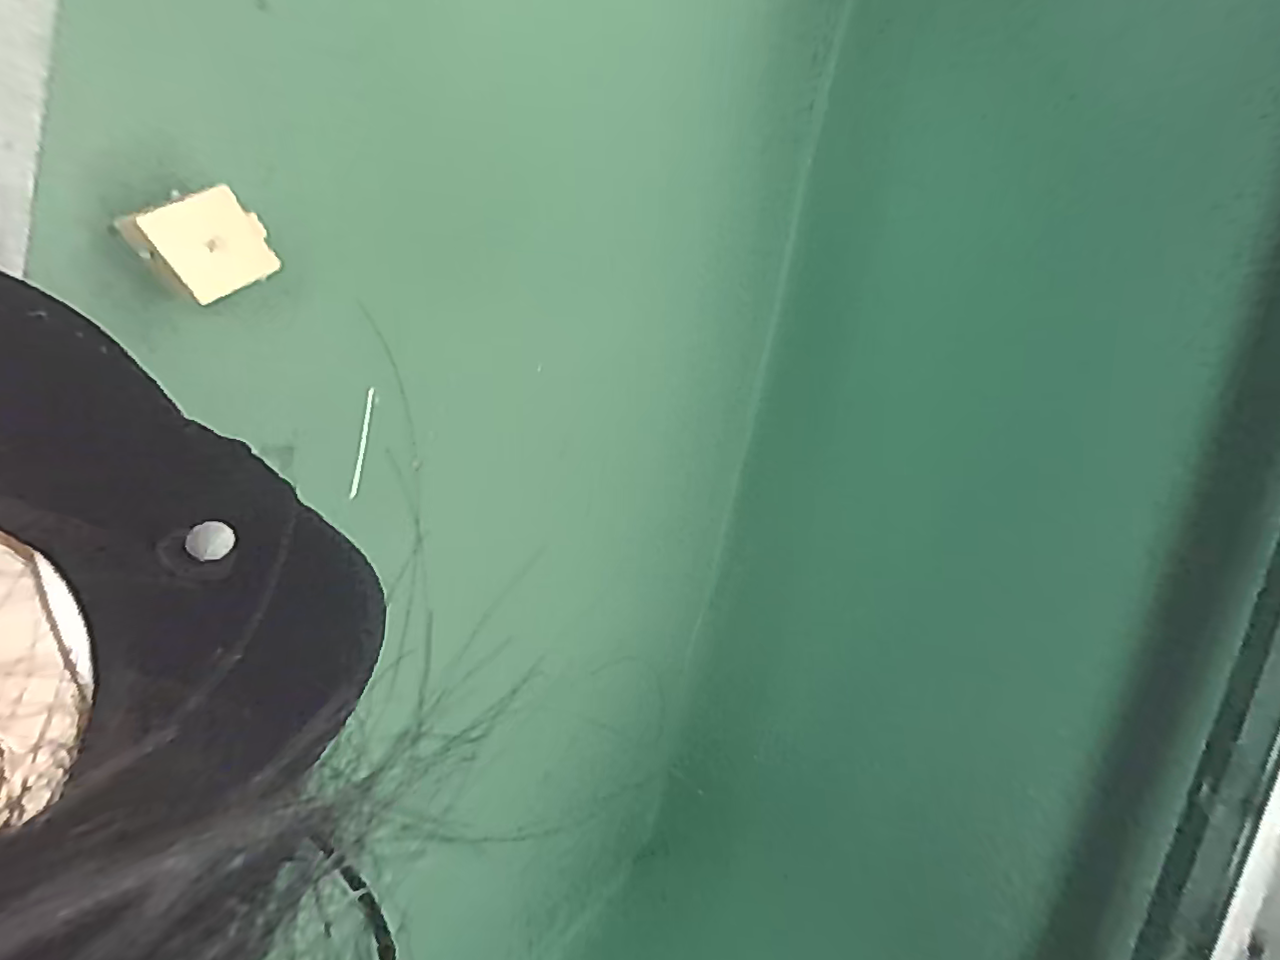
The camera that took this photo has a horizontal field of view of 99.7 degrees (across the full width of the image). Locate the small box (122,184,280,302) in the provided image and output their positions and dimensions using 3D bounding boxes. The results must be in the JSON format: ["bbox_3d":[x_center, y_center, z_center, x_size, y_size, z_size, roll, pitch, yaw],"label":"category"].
[{"bbox_3d":[-0.890,-0.476,1.094,0.179,0.176,0.168,-49,139,-31],"label":"small box"}]
